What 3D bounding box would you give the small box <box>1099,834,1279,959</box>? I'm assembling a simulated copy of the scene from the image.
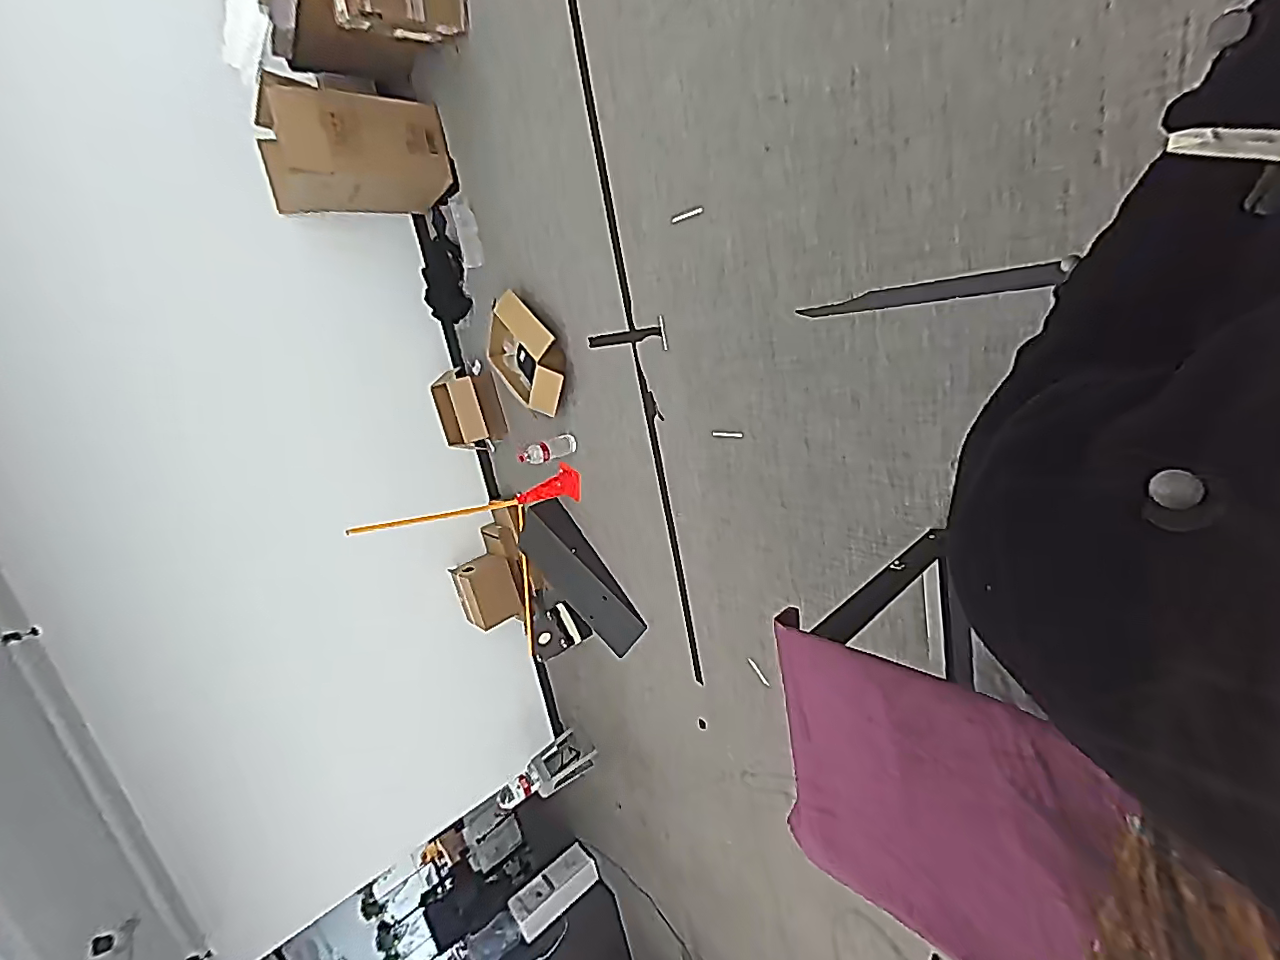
[{"bbox_3d":[0.682,0.593,0.657,0.168,0.176,0.179,11,118,49],"label":"small box"}]
